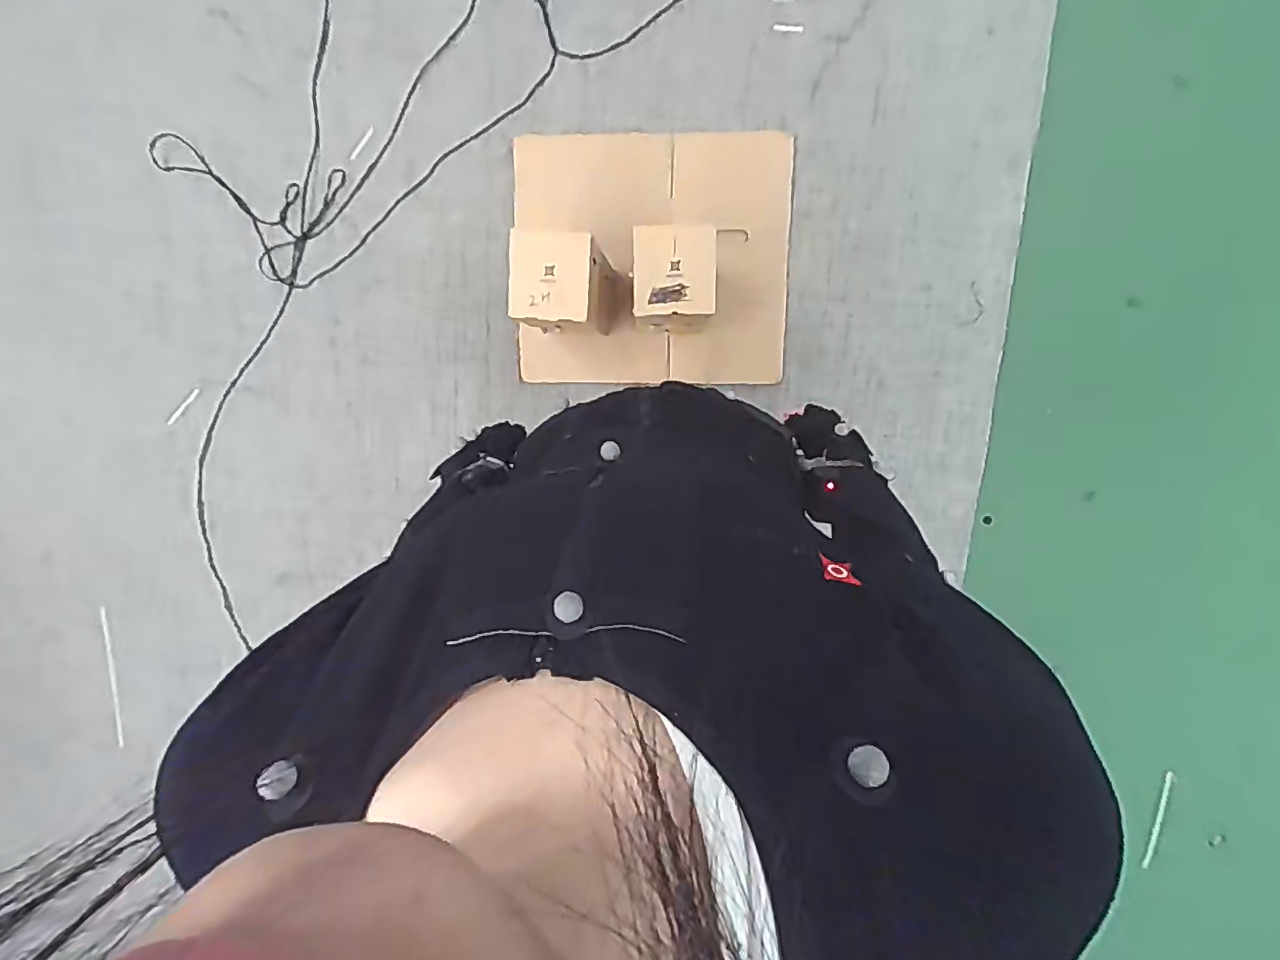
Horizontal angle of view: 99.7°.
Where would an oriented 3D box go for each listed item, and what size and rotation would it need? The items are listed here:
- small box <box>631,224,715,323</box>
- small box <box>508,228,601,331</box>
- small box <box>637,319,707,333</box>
[{"bbox_3d":[0.070,-0.429,1.150,0.168,0.176,0.179,0,100,3],"label":"small box"},{"bbox_3d":[-0.178,-0.423,1.163,0.168,0.176,0.179,4,100,4],"label":"small box"},{"bbox_3d":[0.077,-0.455,1.312,0.168,0.176,0.179,0,101,3],"label":"small box"}]
